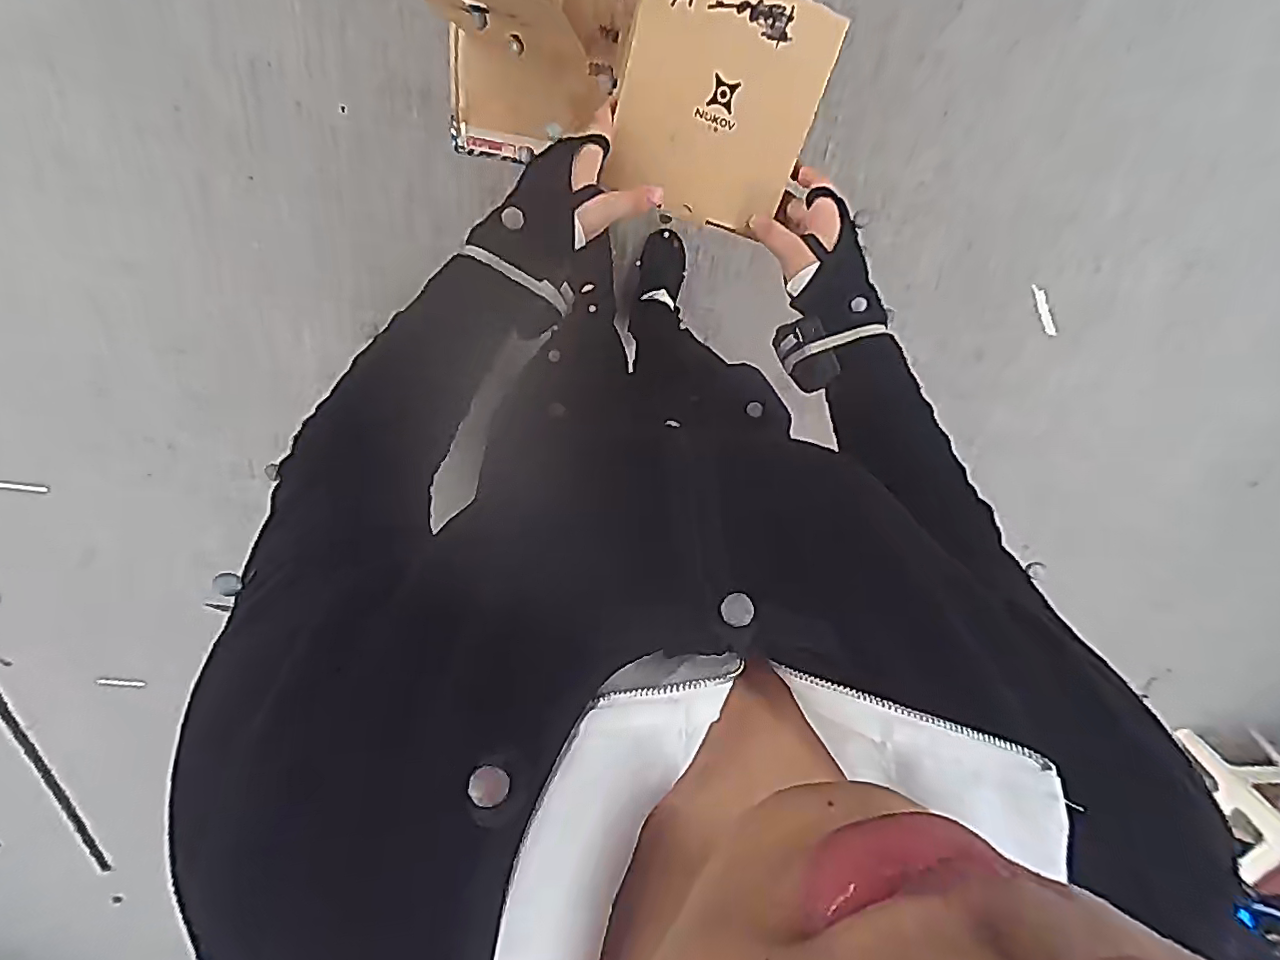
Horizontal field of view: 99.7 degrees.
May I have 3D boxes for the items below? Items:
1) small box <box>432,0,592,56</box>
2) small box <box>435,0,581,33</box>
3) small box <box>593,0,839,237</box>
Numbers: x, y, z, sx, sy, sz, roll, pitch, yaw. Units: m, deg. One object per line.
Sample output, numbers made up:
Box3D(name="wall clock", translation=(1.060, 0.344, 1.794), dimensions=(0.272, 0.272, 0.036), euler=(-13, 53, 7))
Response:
Box3D(name="small box", translation=(-0.135, -0.606, 0.600), dimensions=(0.168, 0.176, 0.179), euler=(8, 121, -6))
Box3D(name="small box", translation=(-0.130, -0.522, 0.461), dimensions=(0.168, 0.176, 0.179), euler=(8, 121, -5))
Box3D(name="small box", translation=(0.055, -0.364, 0.529), dimensions=(0.168, 0.176, 0.179), euler=(13, 119, -13))
